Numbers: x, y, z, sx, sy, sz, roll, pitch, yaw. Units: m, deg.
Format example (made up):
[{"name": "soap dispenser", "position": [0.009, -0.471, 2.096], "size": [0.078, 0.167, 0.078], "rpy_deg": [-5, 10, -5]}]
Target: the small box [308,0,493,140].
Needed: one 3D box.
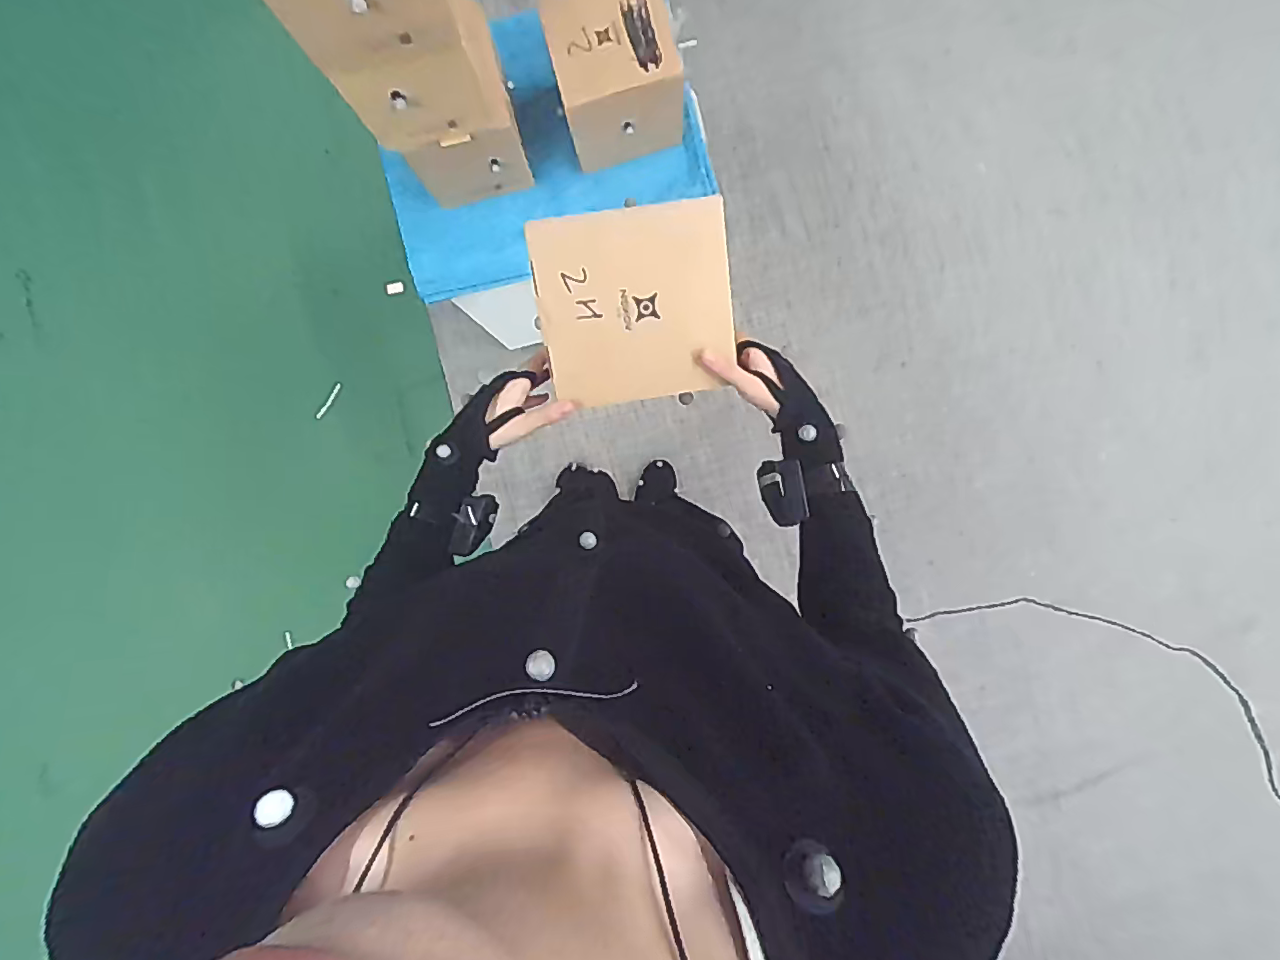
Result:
[{"name": "small box", "position": [-0.295, -0.559, 0.672], "size": [0.168, 0.176, 0.179], "rpy_deg": [-12, 89, 1]}]

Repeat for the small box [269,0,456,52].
[{"name": "small box", "position": [-0.290, -0.550, 0.508], "size": [0.168, 0.176, 0.179], "rpy_deg": [-12, 90, 0]}]

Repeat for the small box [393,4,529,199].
[{"name": "small box", "position": [-0.281, -0.562, 0.834], "size": [0.168, 0.176, 0.179], "rpy_deg": [-13, 89, 0]}]
